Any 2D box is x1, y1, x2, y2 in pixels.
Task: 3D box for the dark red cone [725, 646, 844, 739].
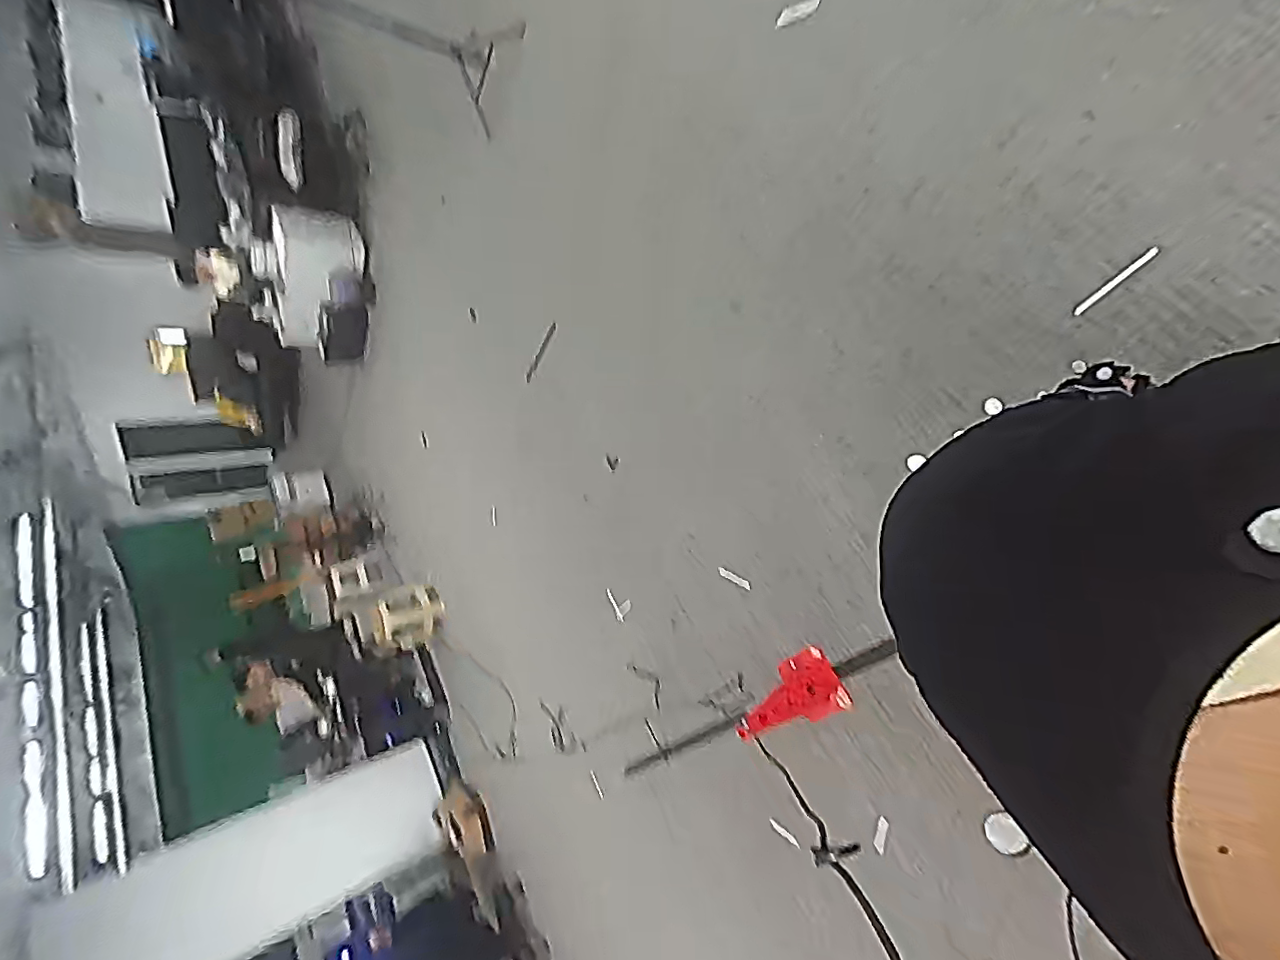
[{"bbox_3d":[0.394,0.656,1.581,0.201,0.394,0.202,60,137,23],"label":"dark red cone"}]
